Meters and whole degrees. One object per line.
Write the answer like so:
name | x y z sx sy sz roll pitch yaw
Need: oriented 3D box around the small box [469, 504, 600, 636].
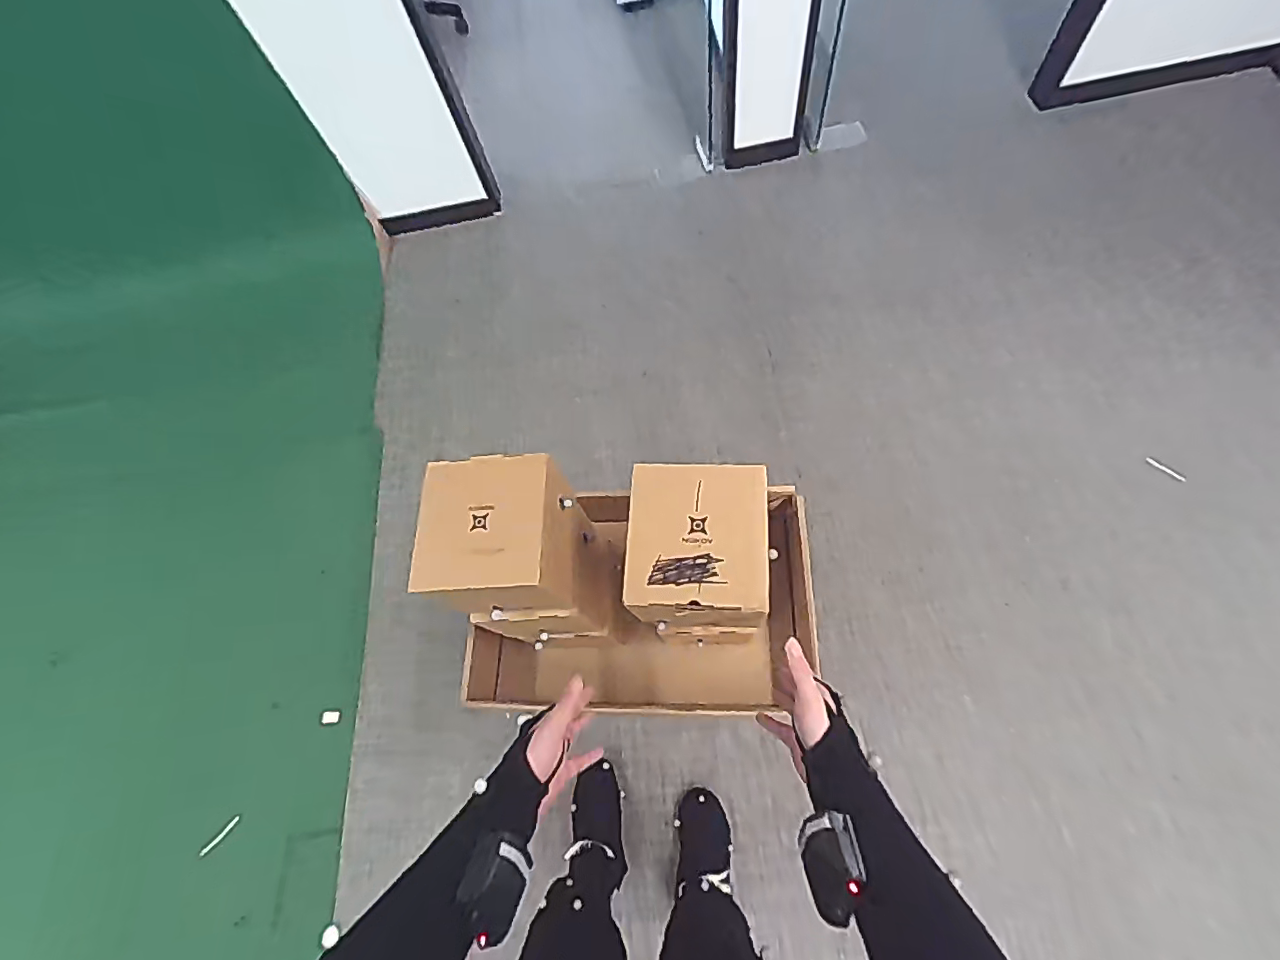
small box | -0.162 0.152 0.882 0.168 0.176 0.179 -4 68 5

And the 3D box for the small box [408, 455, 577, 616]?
small box | -0.185 0.082 0.735 0.168 0.176 0.179 -3 67 6

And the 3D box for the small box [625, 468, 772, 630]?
small box | 0.080 0.096 0.699 0.168 0.176 0.179 2 70 8

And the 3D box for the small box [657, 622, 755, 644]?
small box | 0.120 0.206 1.007 0.168 0.176 0.179 -2 69 6
